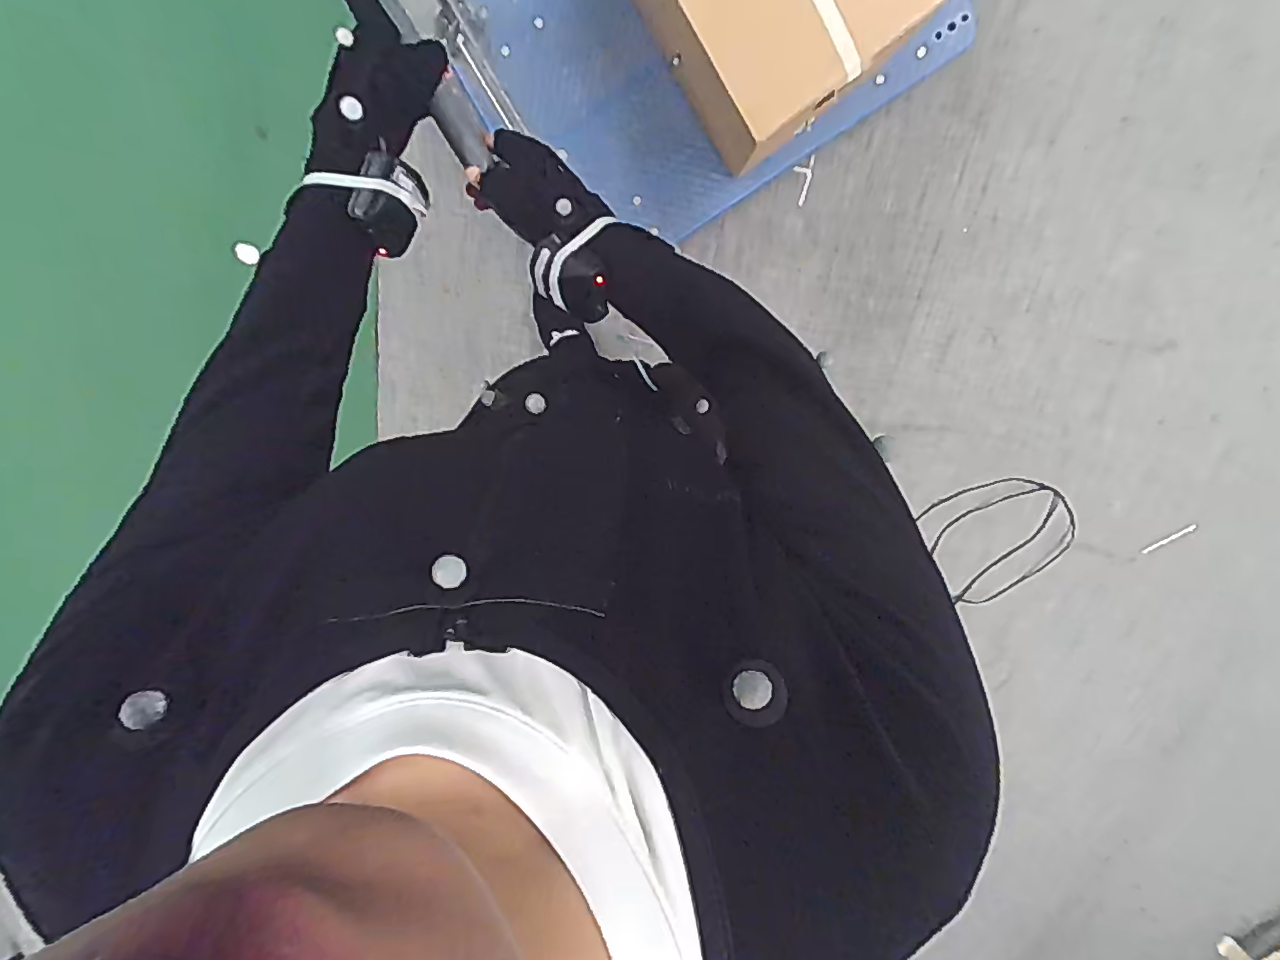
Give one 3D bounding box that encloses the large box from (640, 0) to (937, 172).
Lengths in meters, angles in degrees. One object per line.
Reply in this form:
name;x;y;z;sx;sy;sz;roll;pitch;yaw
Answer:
large box;0.203;-0.800;0.873;0.320;0.320;0.408;-33;104;14
